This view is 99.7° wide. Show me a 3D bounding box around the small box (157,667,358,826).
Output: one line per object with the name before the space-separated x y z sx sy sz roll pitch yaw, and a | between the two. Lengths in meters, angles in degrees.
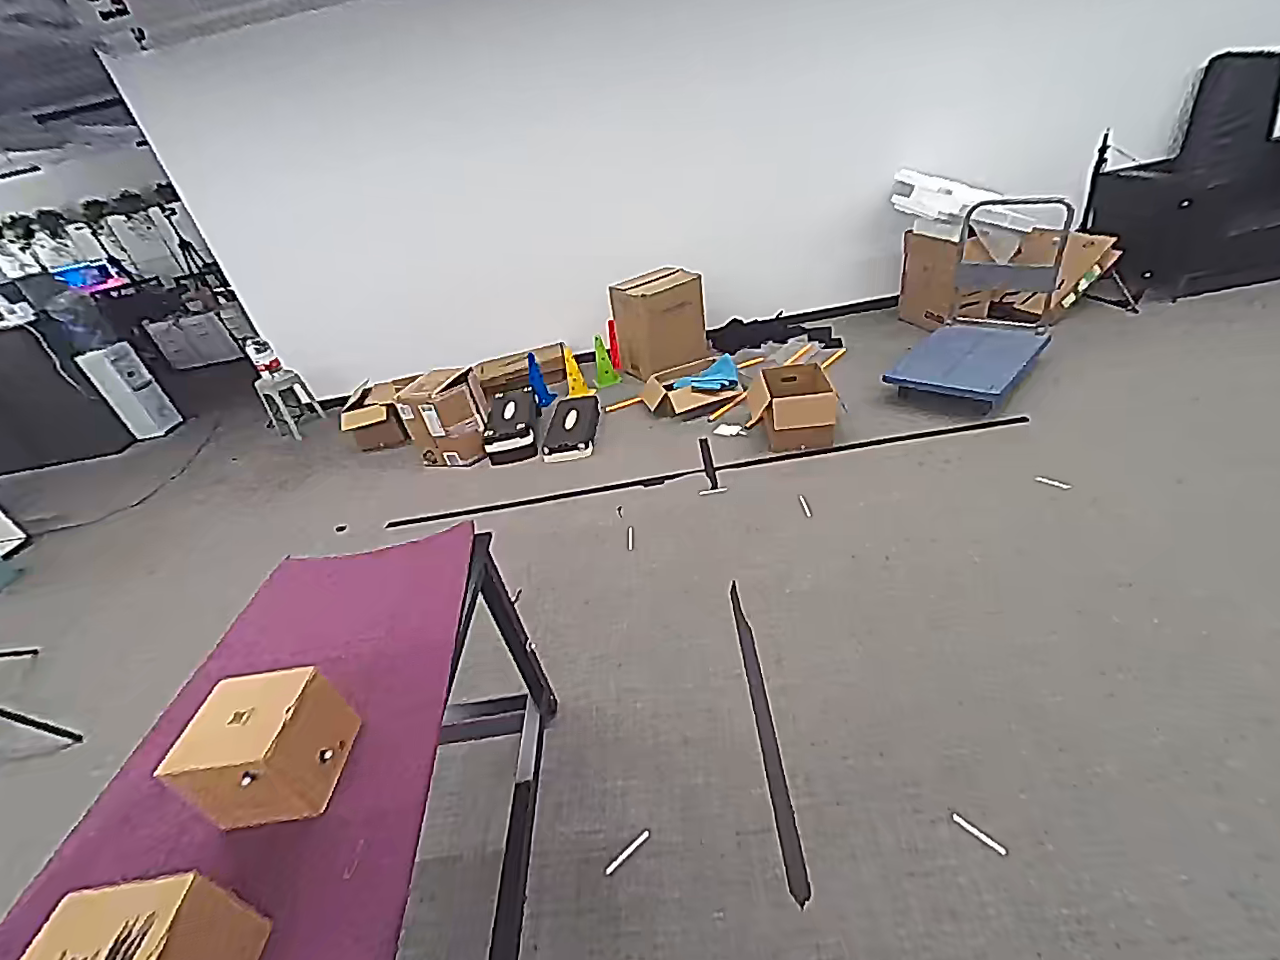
small box | -0.610 0.440 0.890 0.179 0.176 0.168 -10 33 3
